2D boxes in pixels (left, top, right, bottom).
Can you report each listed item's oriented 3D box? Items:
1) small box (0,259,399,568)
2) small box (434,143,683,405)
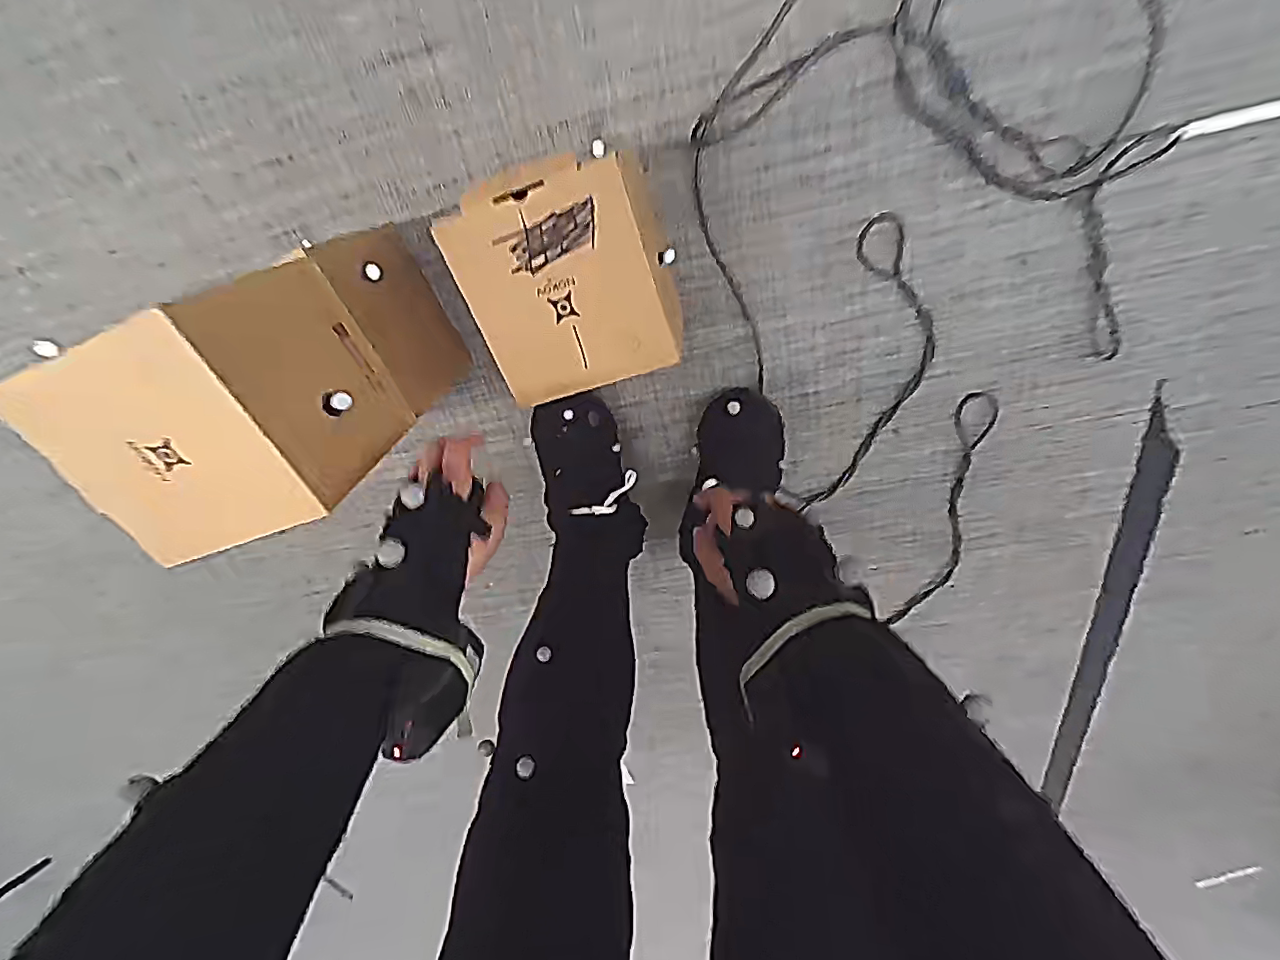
[{"bbox_3d":[-0.329,-0.060,0.441,0.179,0.176,0.168,-17,119,15],"label":"small box"},{"bbox_3d":[-0.060,-0.201,0.523,0.168,0.176,0.179,-14,121,13],"label":"small box"}]
